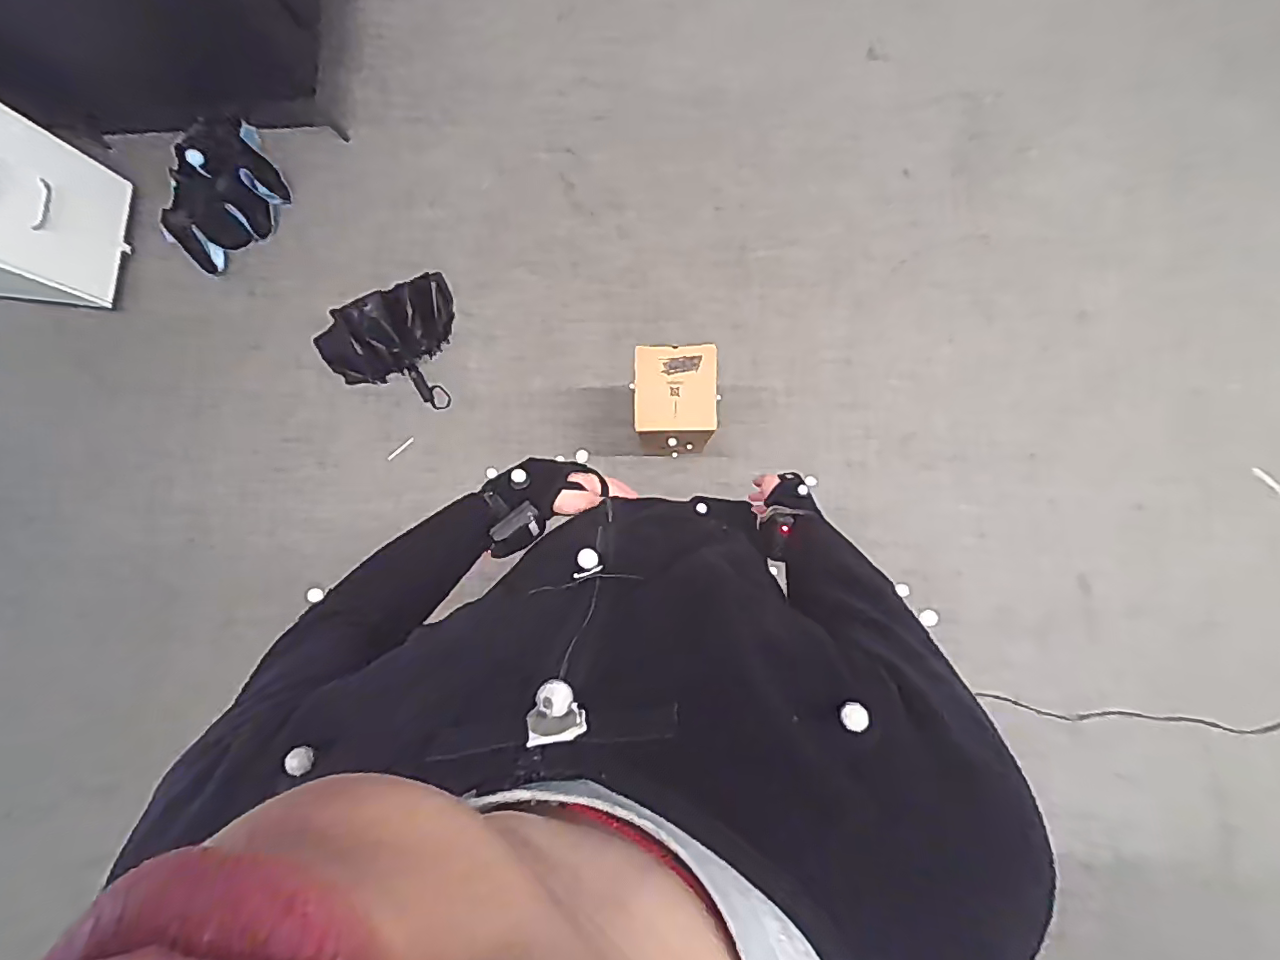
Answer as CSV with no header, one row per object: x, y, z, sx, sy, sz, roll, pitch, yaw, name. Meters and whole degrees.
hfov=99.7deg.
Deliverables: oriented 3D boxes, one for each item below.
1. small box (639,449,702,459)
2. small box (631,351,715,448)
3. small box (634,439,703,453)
0.083,-0.148,1.475,0.168,0.176,0.179,-1,87,2,small box
0.068,-0.166,1.149,0.168,0.176,0.179,1,88,3,small box
0.074,-0.159,1.314,0.168,0.176,0.179,0,85,3,small box
